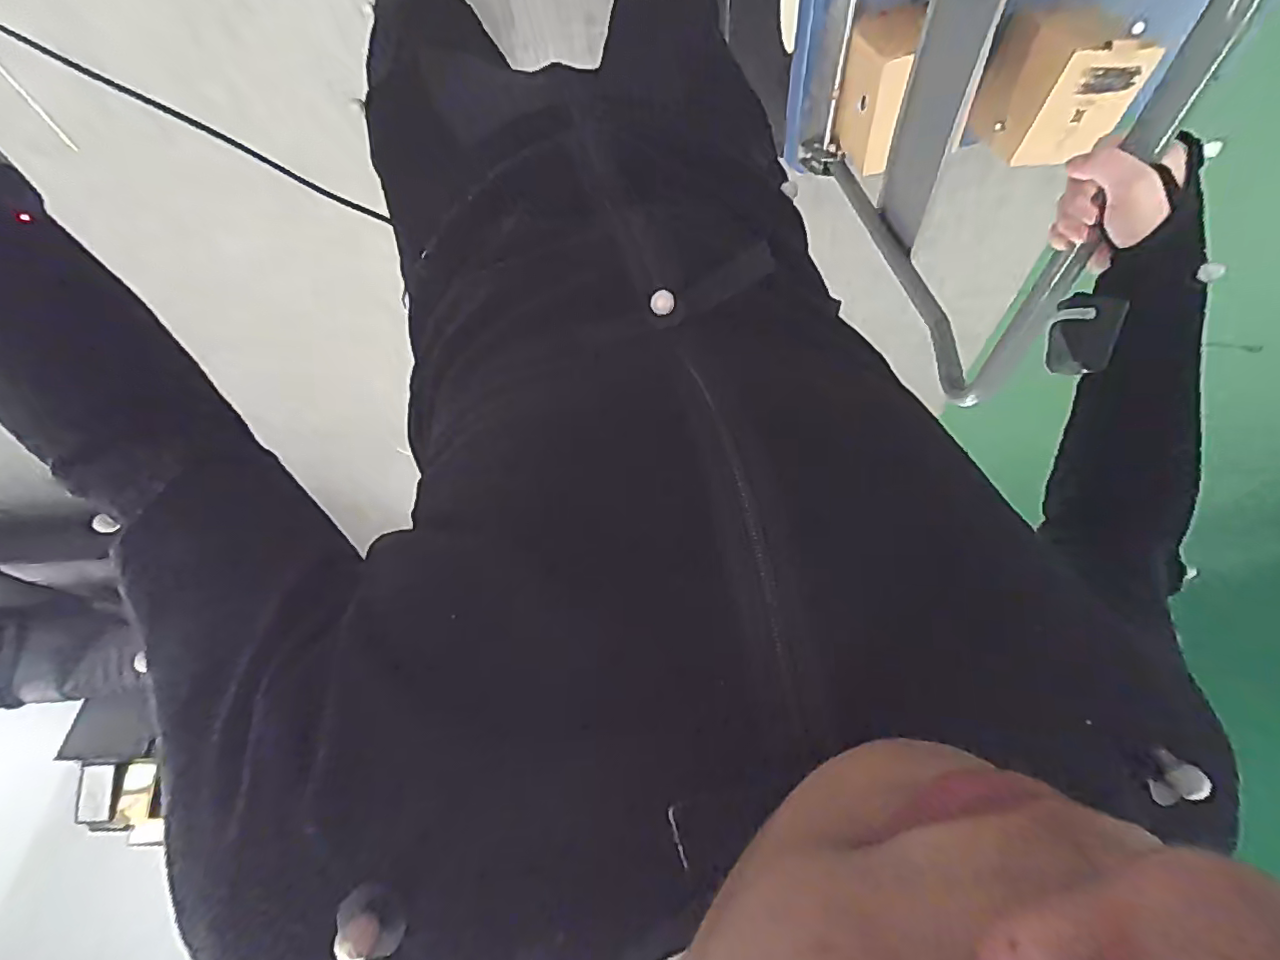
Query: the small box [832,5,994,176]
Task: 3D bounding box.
[{"bbox_3d":[0.438,-0.653,0.902,0.168,0.176,0.179,-12,147,2],"label":"small box"}]
